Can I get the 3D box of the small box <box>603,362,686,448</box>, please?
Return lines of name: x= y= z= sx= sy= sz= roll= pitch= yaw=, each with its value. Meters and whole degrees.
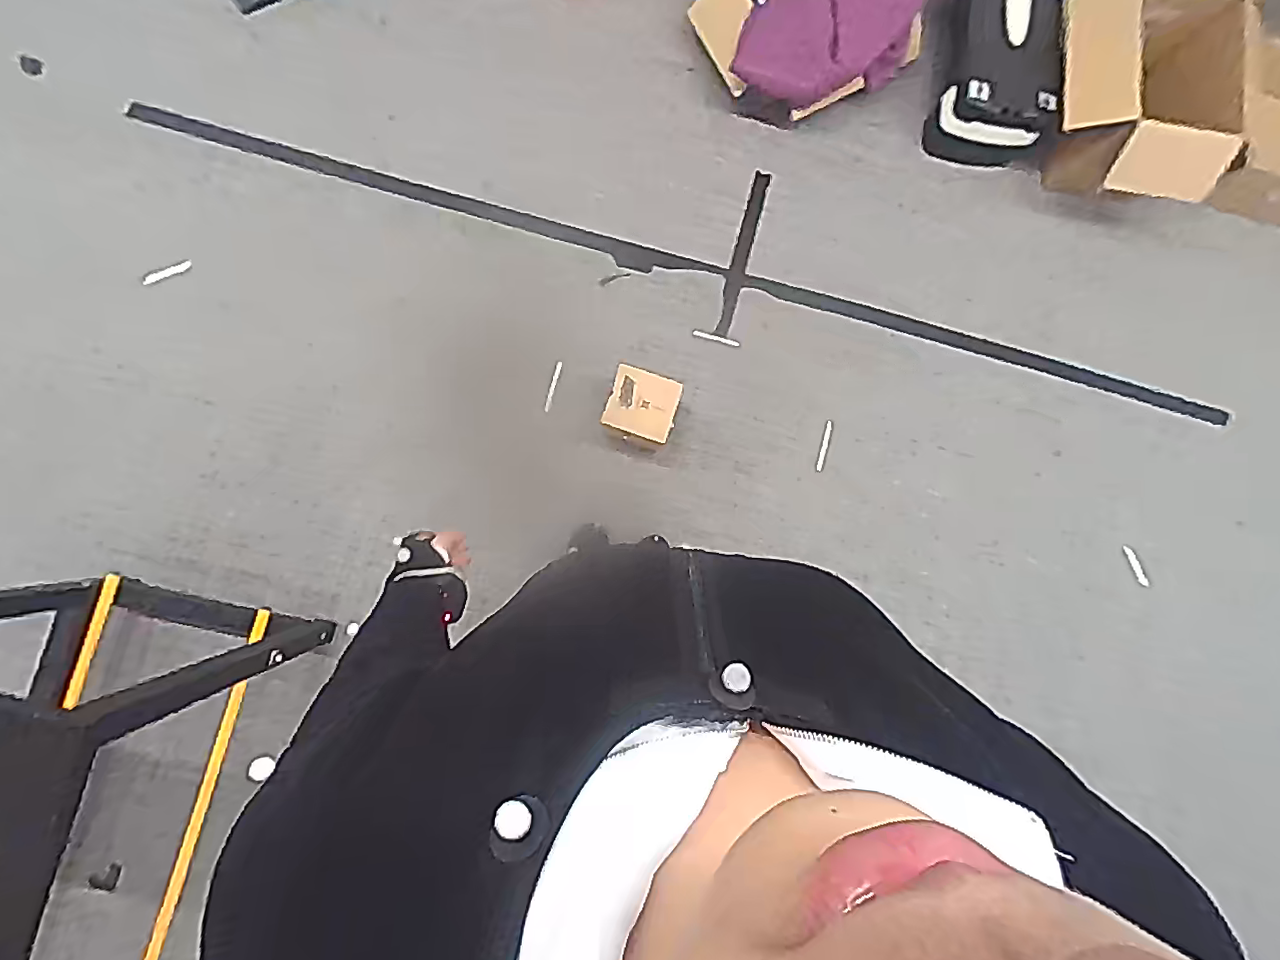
small box: x=0.006 y=-0.193 z=1.456 sx=0.179 sy=0.176 sz=0.168 roll=19 pitch=85 yaw=-3
